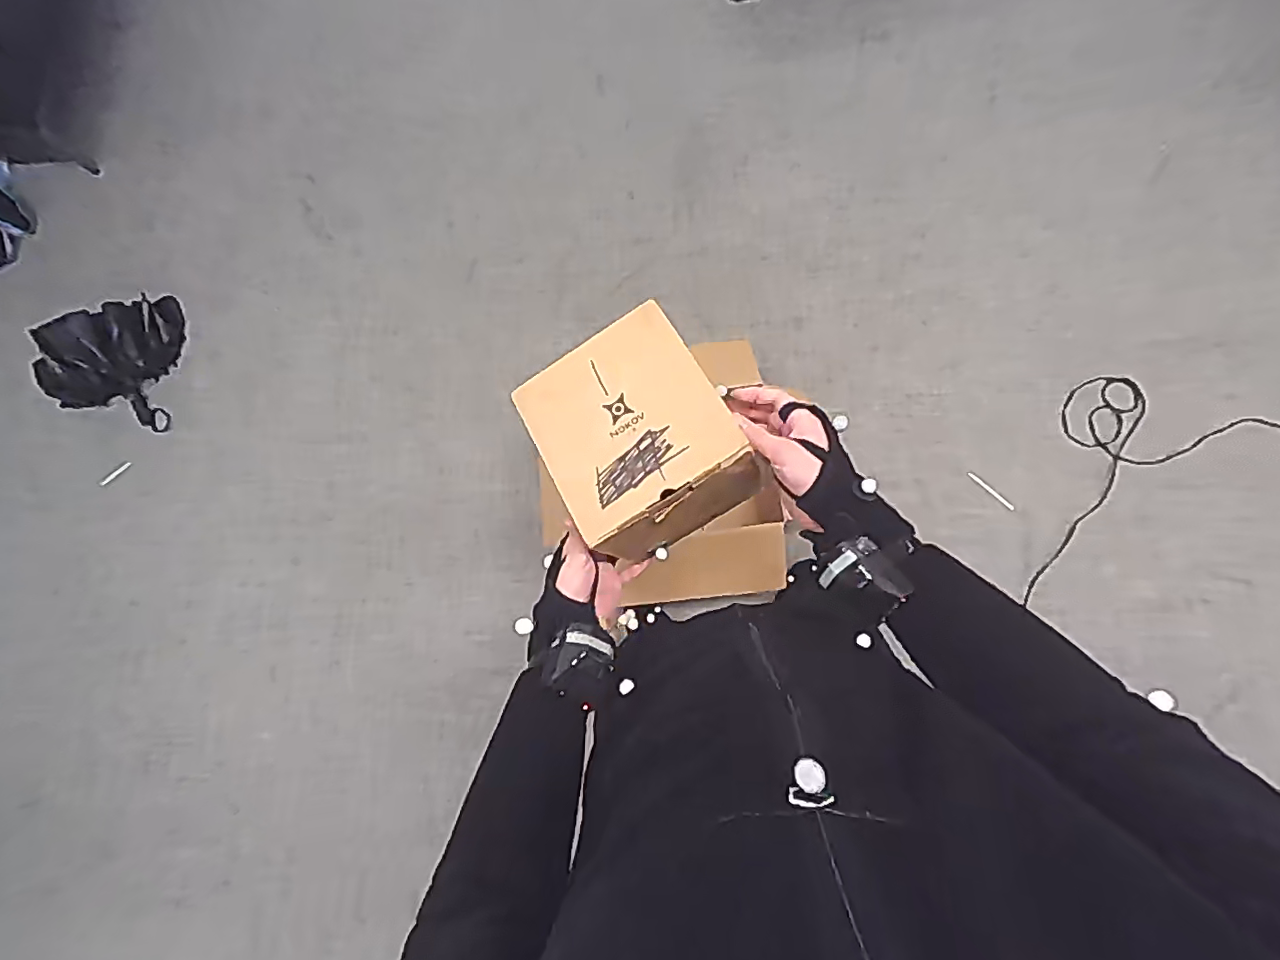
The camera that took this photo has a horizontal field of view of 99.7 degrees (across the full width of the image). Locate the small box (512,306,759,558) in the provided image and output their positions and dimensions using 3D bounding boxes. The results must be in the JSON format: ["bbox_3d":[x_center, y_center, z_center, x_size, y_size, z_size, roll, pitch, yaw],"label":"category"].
[{"bbox_3d":[0.007,-0.032,0.551,0.168,0.176,0.179,-32,71,7],"label":"small box"}]
